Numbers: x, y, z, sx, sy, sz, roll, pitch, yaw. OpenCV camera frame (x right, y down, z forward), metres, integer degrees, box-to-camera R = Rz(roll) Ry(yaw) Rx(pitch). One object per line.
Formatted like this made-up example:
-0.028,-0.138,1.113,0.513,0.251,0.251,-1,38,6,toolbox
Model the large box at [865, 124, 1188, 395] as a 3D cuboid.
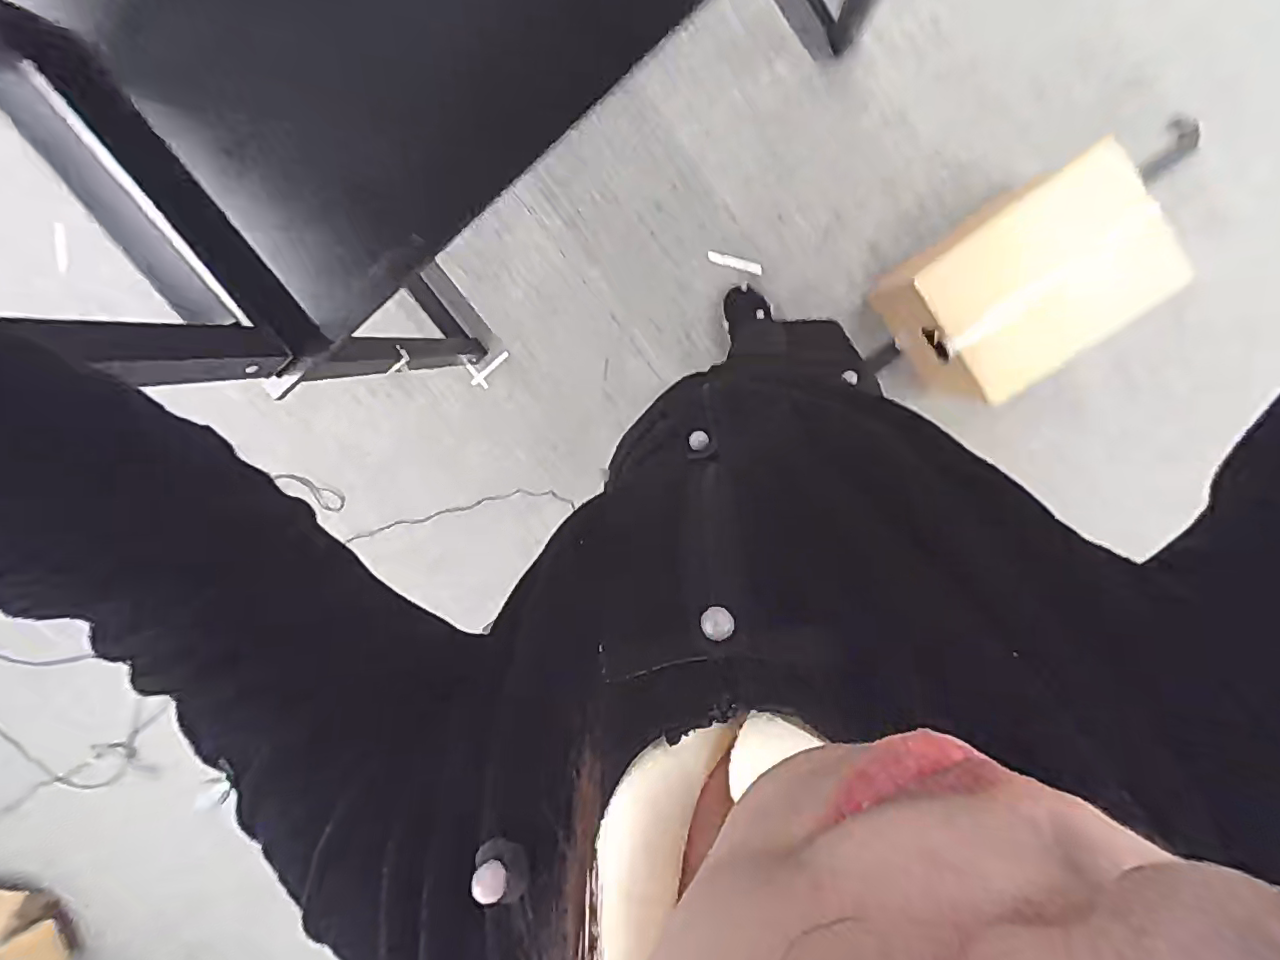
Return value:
0.780,-0.434,1.163,0.408,0.320,0.320,-37,99,12,large box
